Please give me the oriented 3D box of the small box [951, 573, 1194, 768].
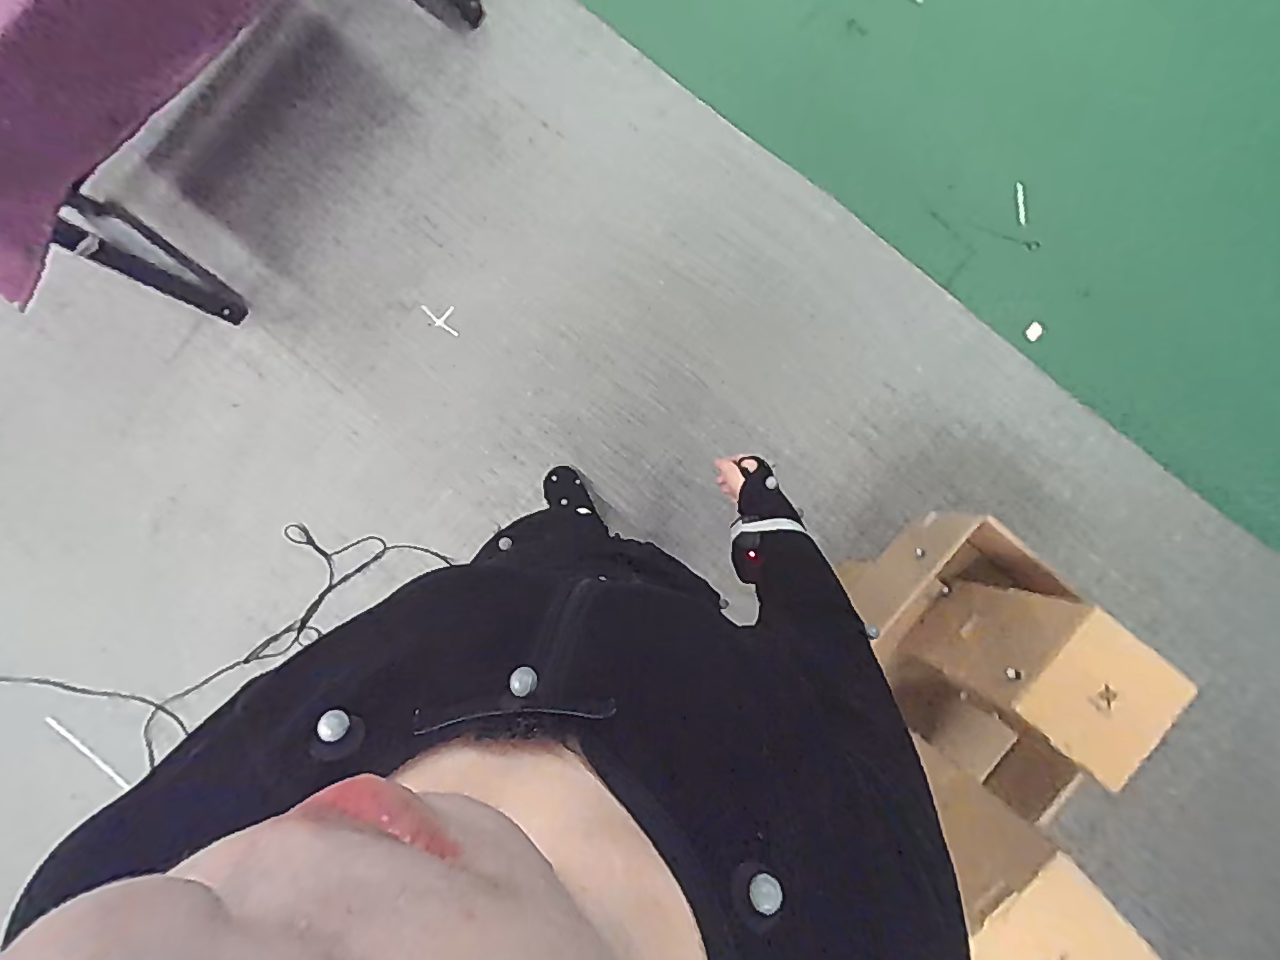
[{"bbox_3d":[0.592,0.252,0.768,0.168,0.176,0.179,39,89,3],"label":"small box"}]
